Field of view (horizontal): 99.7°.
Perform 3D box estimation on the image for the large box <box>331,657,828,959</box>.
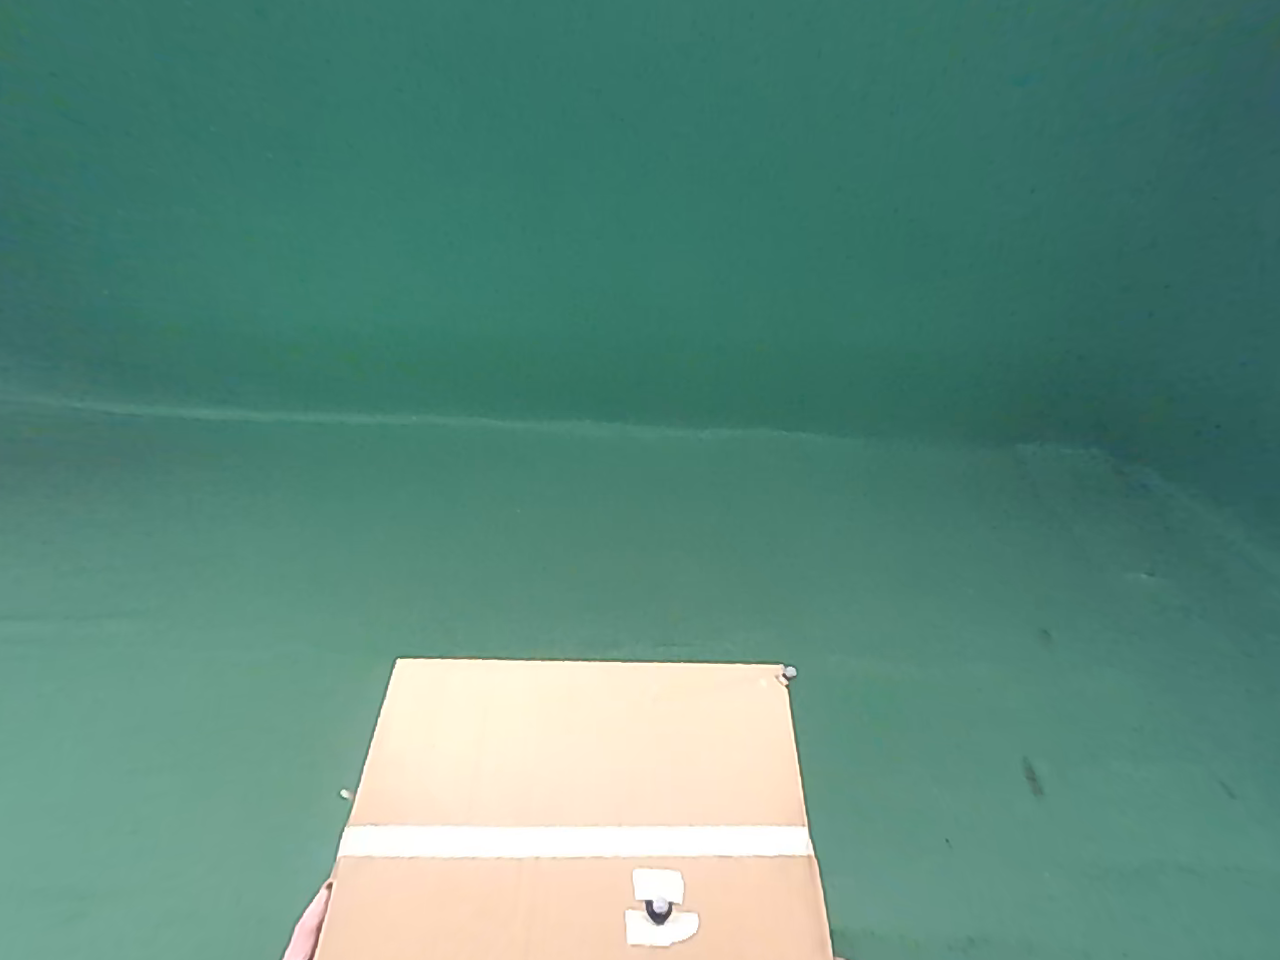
[{"bbox_3d":[-0.055,0.403,0.602,0.408,0.320,0.320,1,53,-2],"label":"large box"}]
